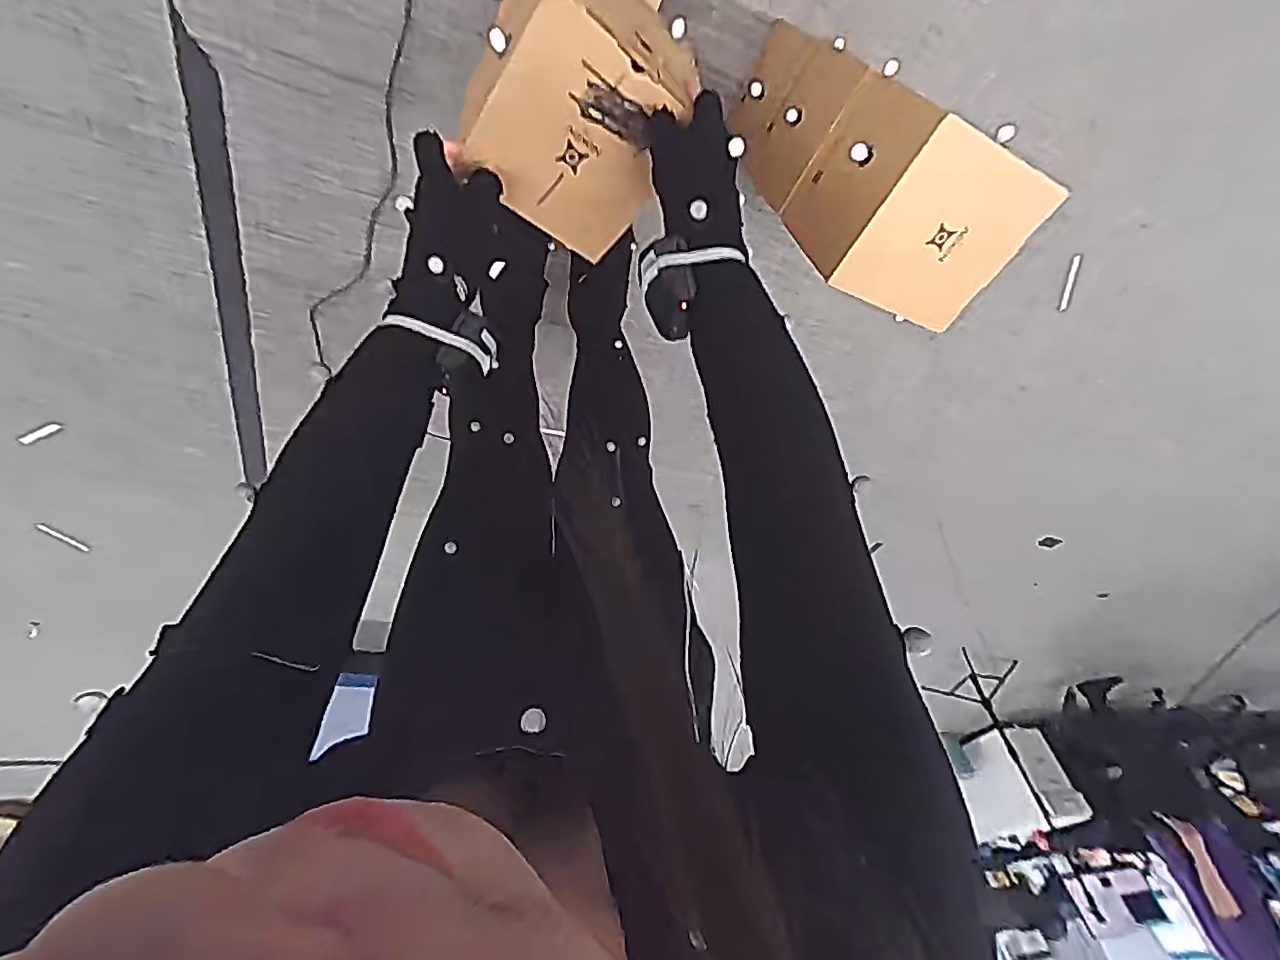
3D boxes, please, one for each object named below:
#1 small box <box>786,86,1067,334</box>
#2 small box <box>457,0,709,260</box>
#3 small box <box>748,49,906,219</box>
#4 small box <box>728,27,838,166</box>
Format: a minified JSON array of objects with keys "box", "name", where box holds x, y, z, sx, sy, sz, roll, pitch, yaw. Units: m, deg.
[{"box":[0.289,-0.294,0.589,0.179,0.176,0.168,11,134,-23],"name":"small box"},{"box":[-0.059,-0.368,0.529,0.168,0.176,0.179,21,142,-35],"name":"small box"},{"box":[0.266,-0.415,0.697,0.179,0.176,0.168,13,134,-25],"name":"small box"},{"box":[0.255,-0.536,0.809,0.179,0.176,0.168,12,134,-23],"name":"small box"}]
